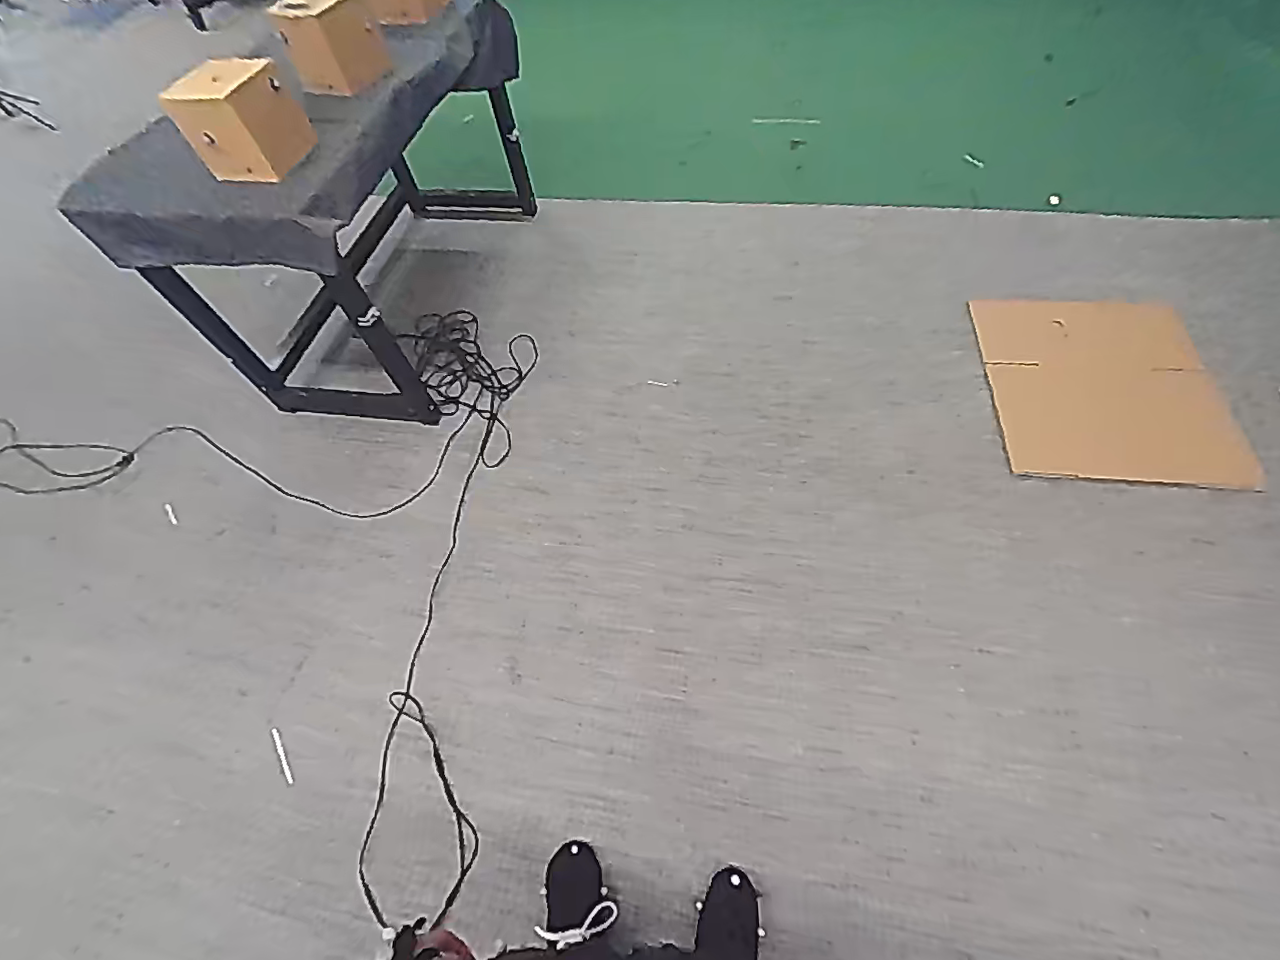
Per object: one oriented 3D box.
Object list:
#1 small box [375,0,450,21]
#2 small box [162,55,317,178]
[{"bbox_3d":[-0.678,-1.466,1.567,0.168,0.176,0.179,12,60,12],"label":"small box"},{"bbox_3d":[-0.844,-0.775,1.162,0.168,0.176,0.179,7,59,11],"label":"small box"}]
